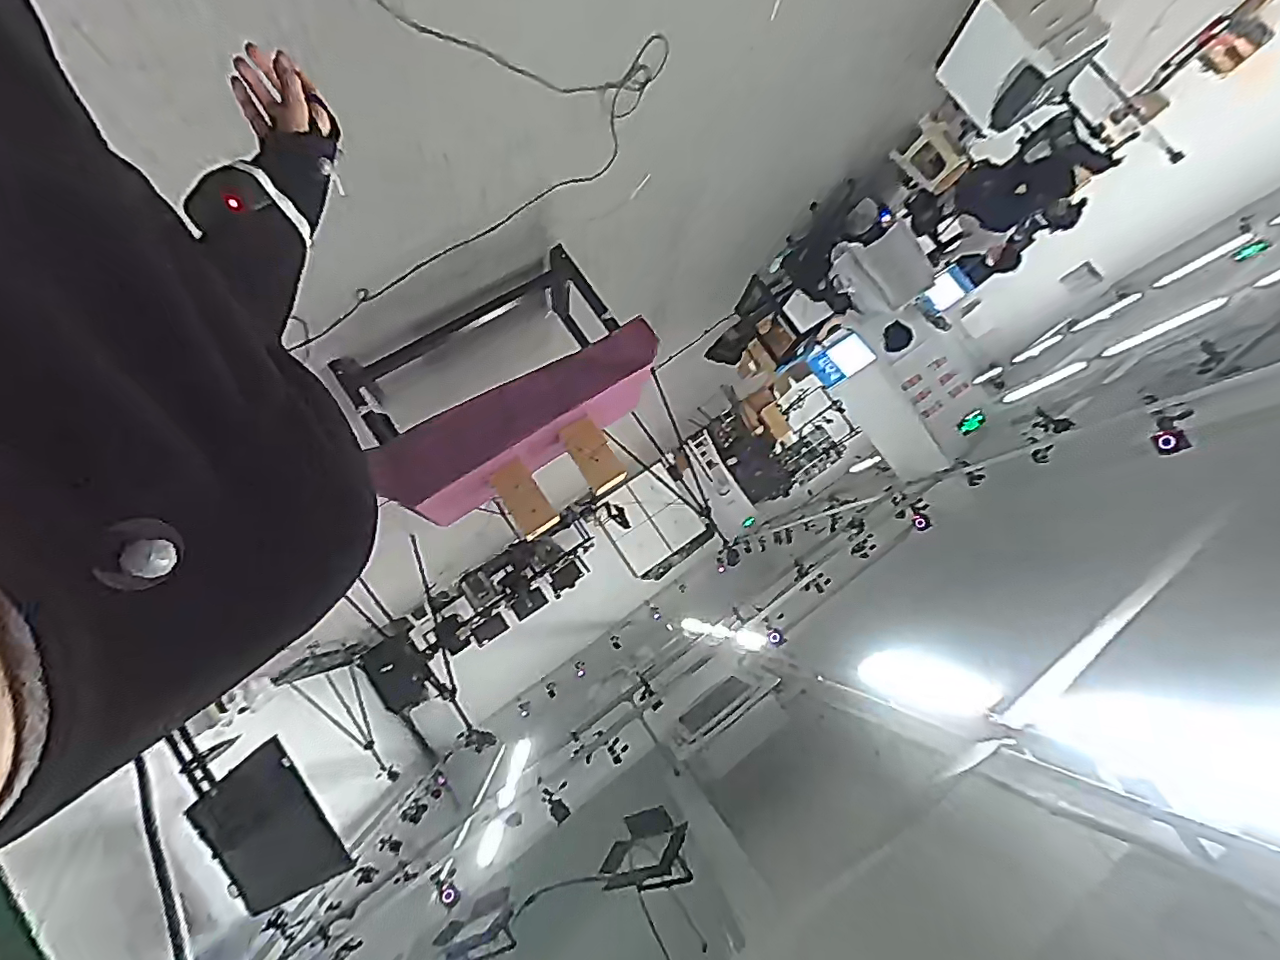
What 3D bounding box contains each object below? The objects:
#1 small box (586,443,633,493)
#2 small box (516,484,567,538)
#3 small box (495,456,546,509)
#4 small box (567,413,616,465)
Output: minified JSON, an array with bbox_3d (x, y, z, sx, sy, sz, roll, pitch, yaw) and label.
[{"bbox_3d":[-0.152,-0.060,2.613,0.168,0.176,0.179,-34,174,-11],"label":"small box"},{"bbox_3d":[-0.462,0.145,2.520,0.179,0.176,0.168,-34,173,-12],"label":"small box"},{"bbox_3d":[-0.556,0.012,2.537,0.179,0.176,0.168,-33,173,-13],"label":"small box"},{"bbox_3d":[-0.239,-0.200,2.628,0.179,0.176,0.168,-33,174,-11],"label":"small box"}]
